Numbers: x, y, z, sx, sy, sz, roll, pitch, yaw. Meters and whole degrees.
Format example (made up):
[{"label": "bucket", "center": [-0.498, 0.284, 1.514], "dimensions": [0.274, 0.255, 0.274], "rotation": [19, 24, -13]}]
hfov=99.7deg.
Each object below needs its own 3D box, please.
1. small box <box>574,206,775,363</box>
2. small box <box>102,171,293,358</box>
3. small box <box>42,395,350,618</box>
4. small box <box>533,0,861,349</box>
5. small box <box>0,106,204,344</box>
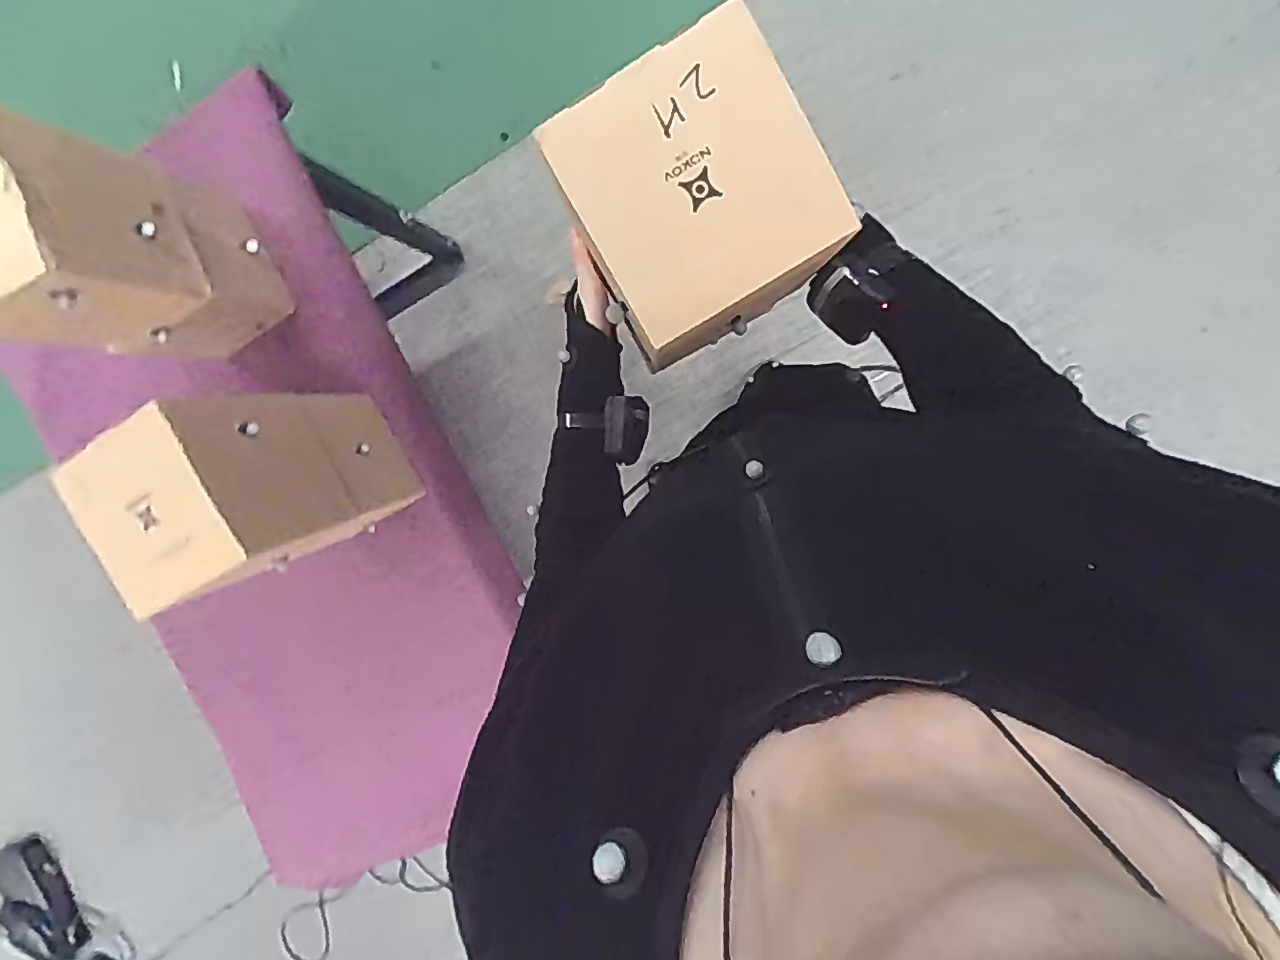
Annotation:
[{"label": "small box", "center": [0.051, -0.246, 0.603], "dimensions": [0.179, 0.176, 0.168], "rotation": [-27, 93, 5]}, {"label": "small box", "center": [-0.643, -0.288, 0.757], "dimensions": [0.168, 0.176, 0.179], "rotation": [-27, 93, 13]}, {"label": "small box", "center": [-0.475, 0.019, 0.605], "dimensions": [0.168, 0.176, 0.179], "rotation": [-26, 94, 14]}, {"label": "small box", "center": [0.043, -0.221, 0.440], "dimensions": [0.168, 0.176, 0.179], "rotation": [-29, 93, 5]}, {"label": "small box", "center": [-0.646, -0.260, 0.594], "dimensions": [0.179, 0.176, 0.168], "rotation": [-19, 95, 11]}]
